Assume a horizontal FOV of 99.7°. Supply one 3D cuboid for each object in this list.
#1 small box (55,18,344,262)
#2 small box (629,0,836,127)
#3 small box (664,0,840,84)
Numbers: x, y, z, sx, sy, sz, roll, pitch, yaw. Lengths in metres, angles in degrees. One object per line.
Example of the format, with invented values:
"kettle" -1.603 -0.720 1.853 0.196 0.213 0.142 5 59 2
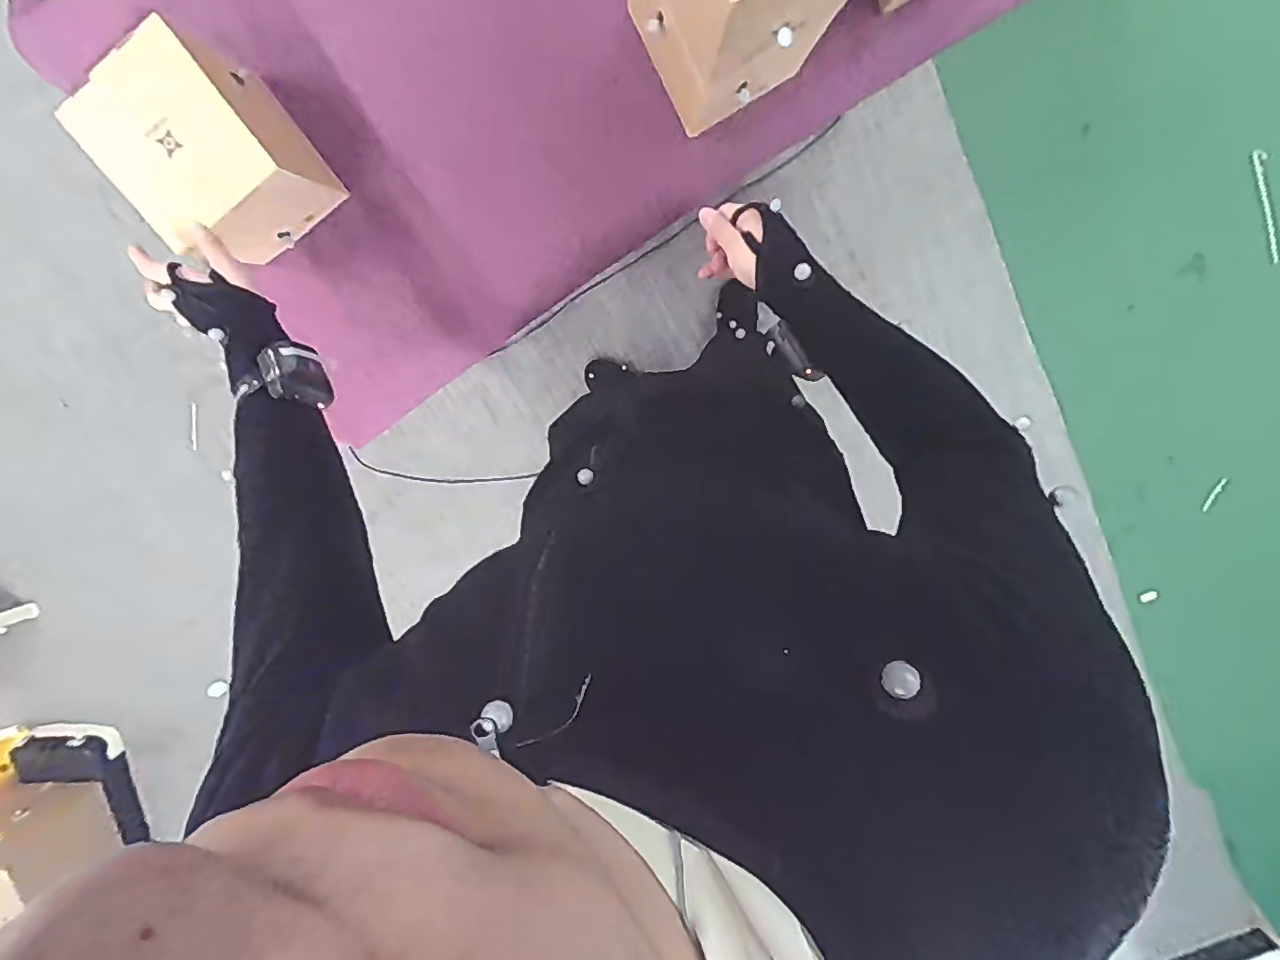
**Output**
"small box" -0.519 -0.394 0.669 0.168 0.176 0.179 -33 106 10
"small box" 0.096 -0.549 0.629 0.168 0.176 0.179 -28 104 8
"small box" 0.097 -0.504 0.471 0.168 0.176 0.179 -28 105 8
